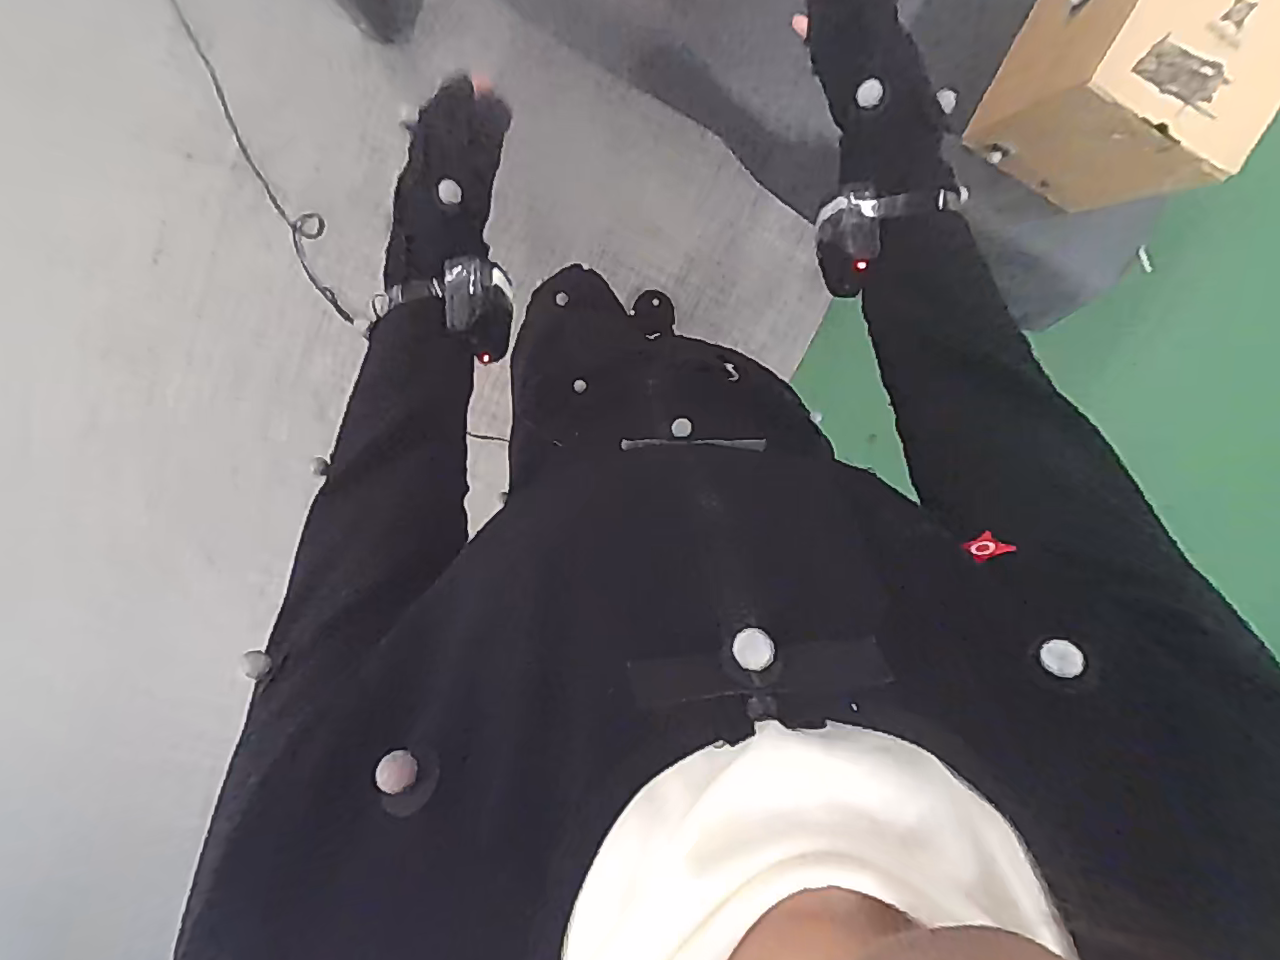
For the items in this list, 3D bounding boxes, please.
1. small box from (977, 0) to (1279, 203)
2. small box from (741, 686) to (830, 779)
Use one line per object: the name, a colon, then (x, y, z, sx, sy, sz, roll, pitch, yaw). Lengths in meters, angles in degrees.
small box: (0.463, -0.390, 0.506, 0.168, 0.176, 0.179, 23, 104, -12)
small box: (0.438, 0.767, 1.657, 0.179, 0.176, 0.168, 26, 103, -13)
